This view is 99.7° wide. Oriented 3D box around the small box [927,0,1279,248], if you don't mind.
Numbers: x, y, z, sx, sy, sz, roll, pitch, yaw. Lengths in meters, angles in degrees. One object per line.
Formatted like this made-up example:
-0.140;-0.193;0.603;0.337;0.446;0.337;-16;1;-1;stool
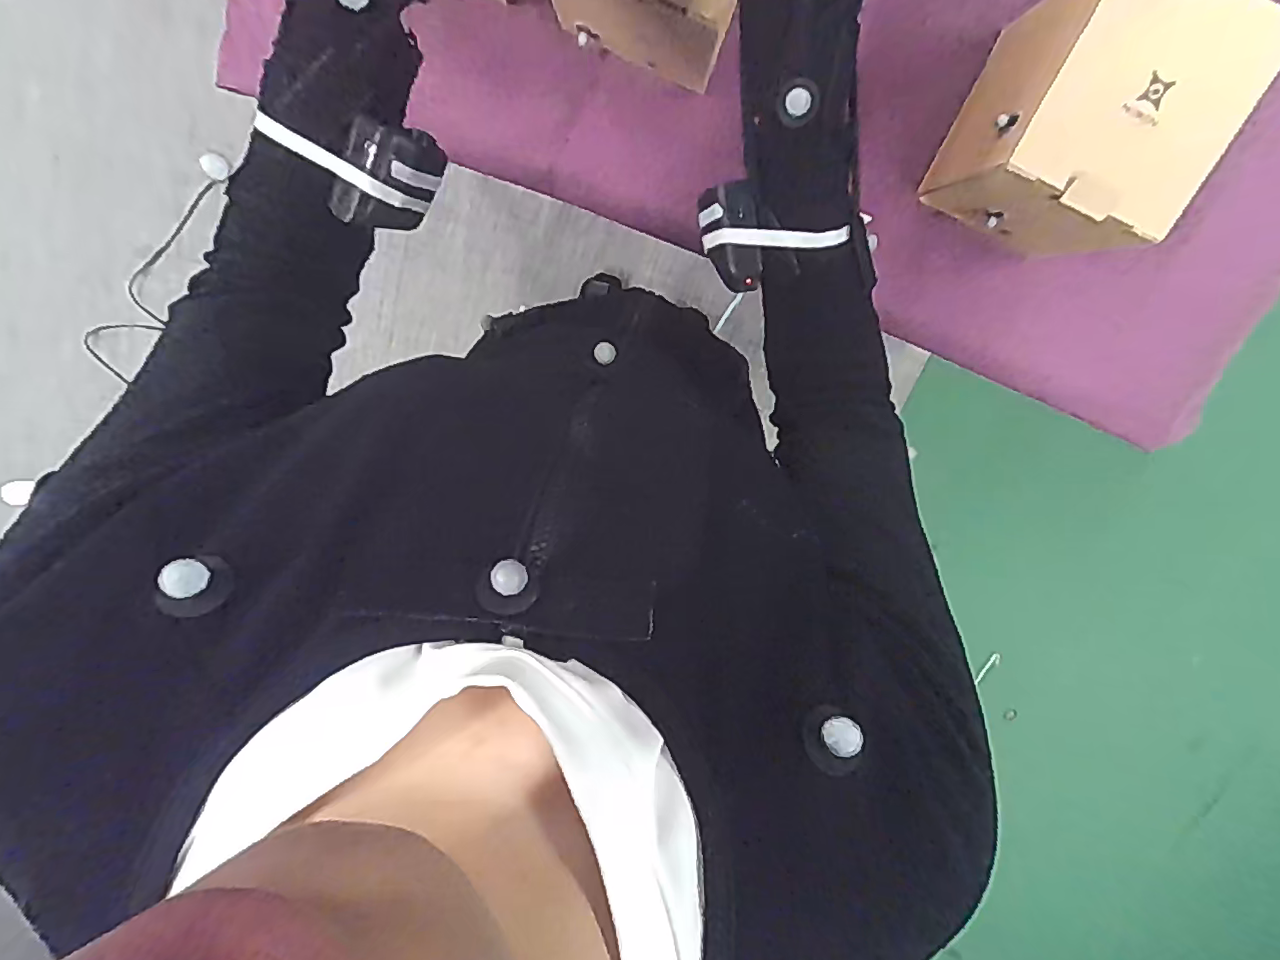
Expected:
0.421;-0.346;0.523;0.168;0.176;0.179;22;109;-7;small box

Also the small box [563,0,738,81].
0.024;-0.499;0.475;0.168;0.176;0.179;21;109;-7;small box
